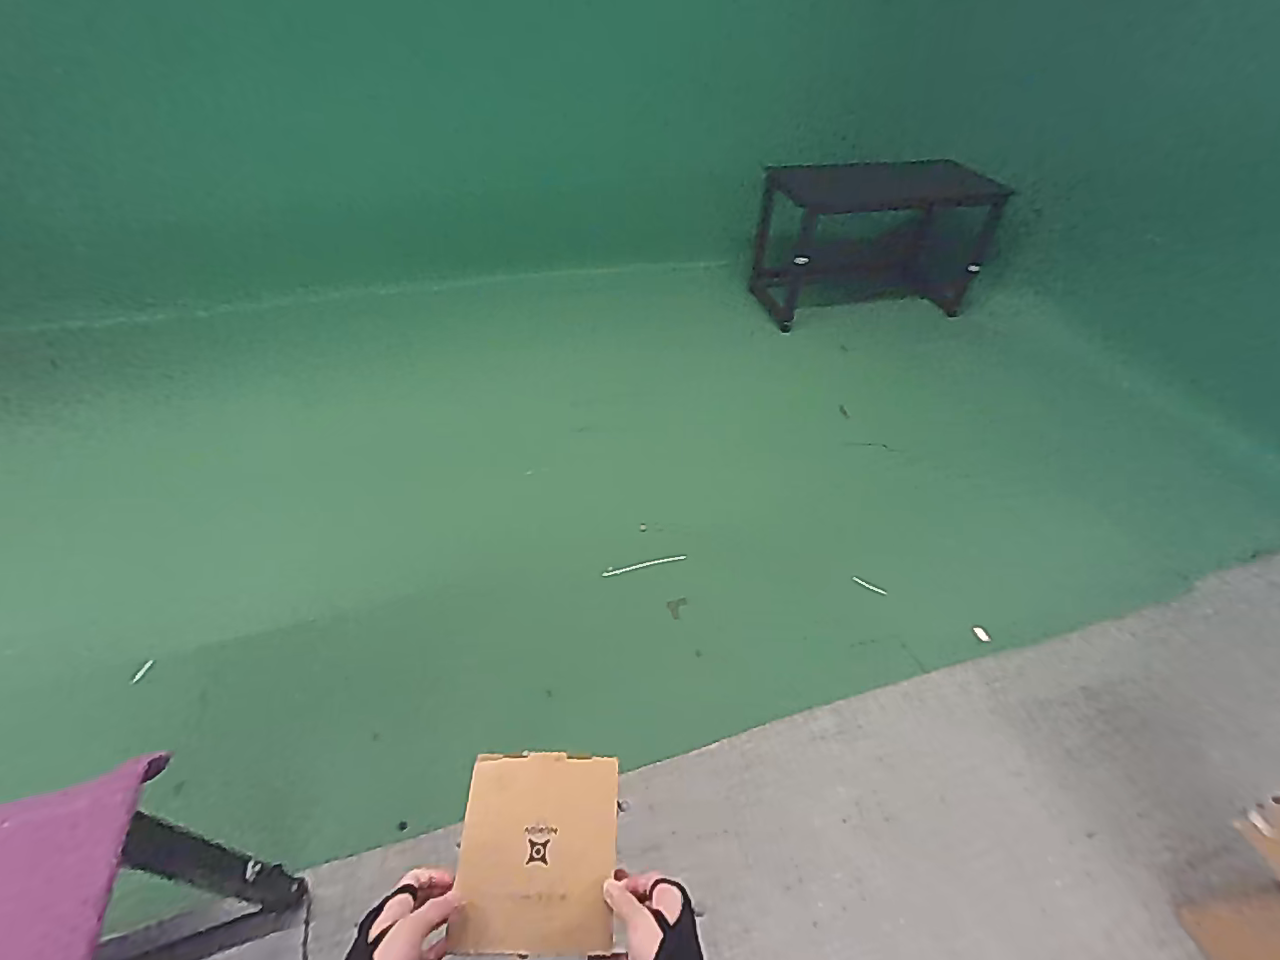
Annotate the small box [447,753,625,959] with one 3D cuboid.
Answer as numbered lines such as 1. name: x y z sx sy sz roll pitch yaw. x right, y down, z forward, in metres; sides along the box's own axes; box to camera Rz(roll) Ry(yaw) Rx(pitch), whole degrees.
1. small box: -0.107 0.436 0.636 0.168 0.176 0.179 3 55 -1
